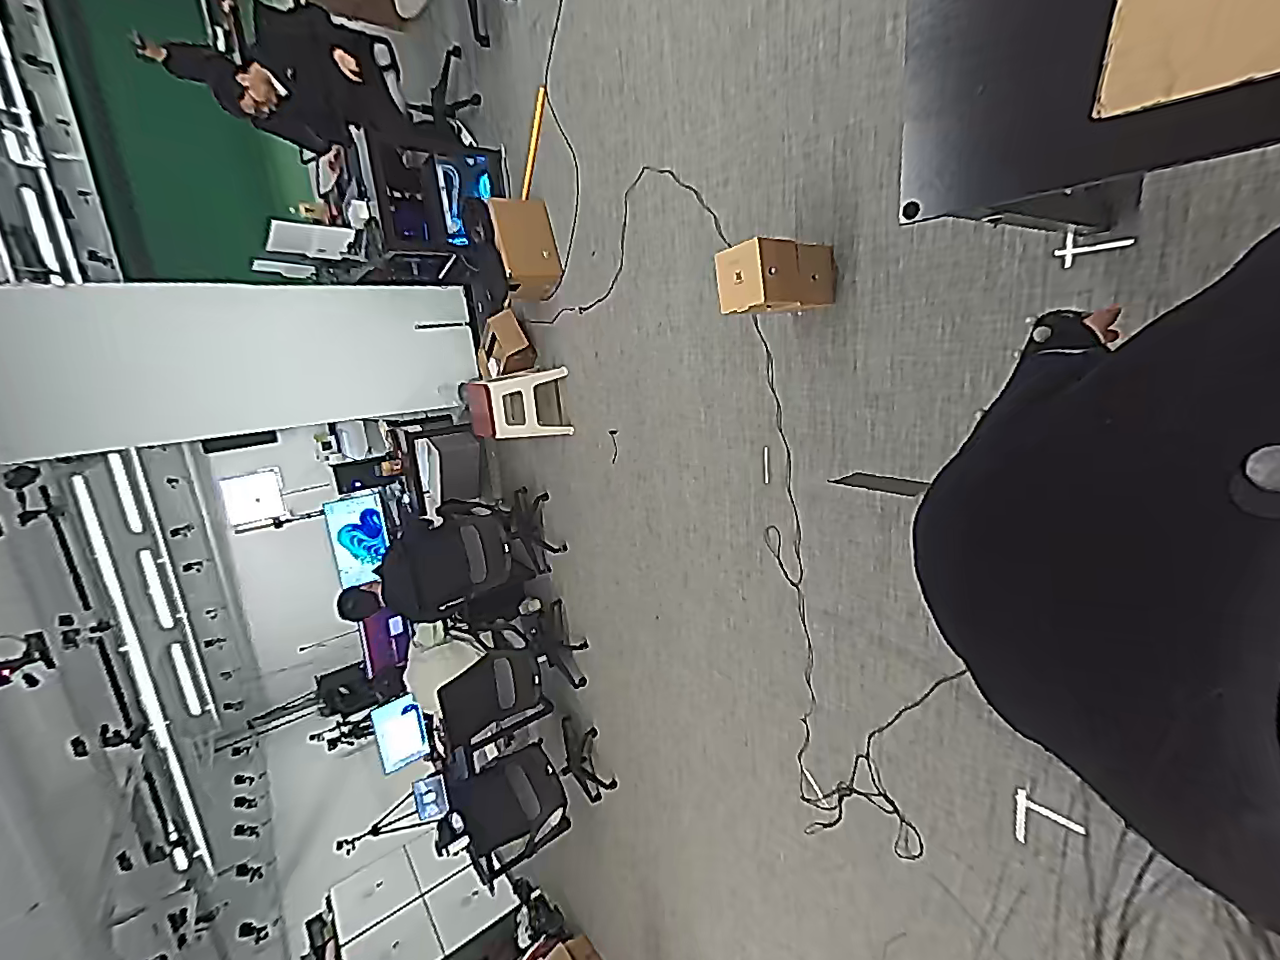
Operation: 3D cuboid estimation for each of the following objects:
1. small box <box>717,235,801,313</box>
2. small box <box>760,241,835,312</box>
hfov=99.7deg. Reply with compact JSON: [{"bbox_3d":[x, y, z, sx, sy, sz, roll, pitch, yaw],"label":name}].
[{"bbox_3d":[0.348,-0.592,1.564,0.168,0.176,0.179,3,104,53],"label":"small box"},{"bbox_3d":[0.478,-0.619,1.658,0.168,0.176,0.179,8,109,53],"label":"small box"}]
